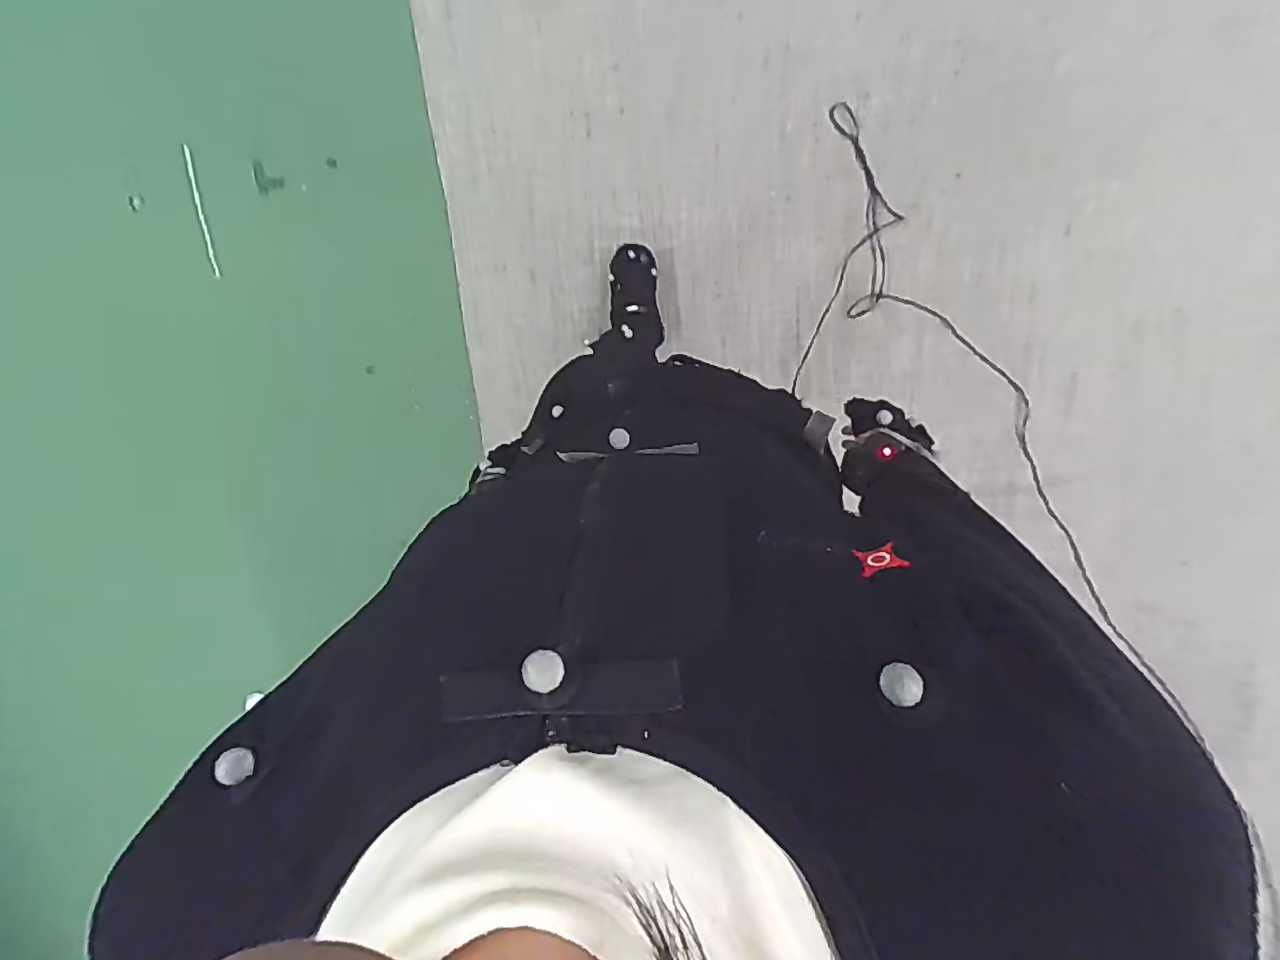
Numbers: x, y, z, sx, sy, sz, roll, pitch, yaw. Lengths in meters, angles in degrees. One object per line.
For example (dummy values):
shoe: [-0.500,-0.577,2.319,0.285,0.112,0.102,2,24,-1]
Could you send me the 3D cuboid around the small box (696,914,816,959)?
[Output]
small box: [0.173,0.771,0.782,0.179,0.176,0.168,-7,104,8]
